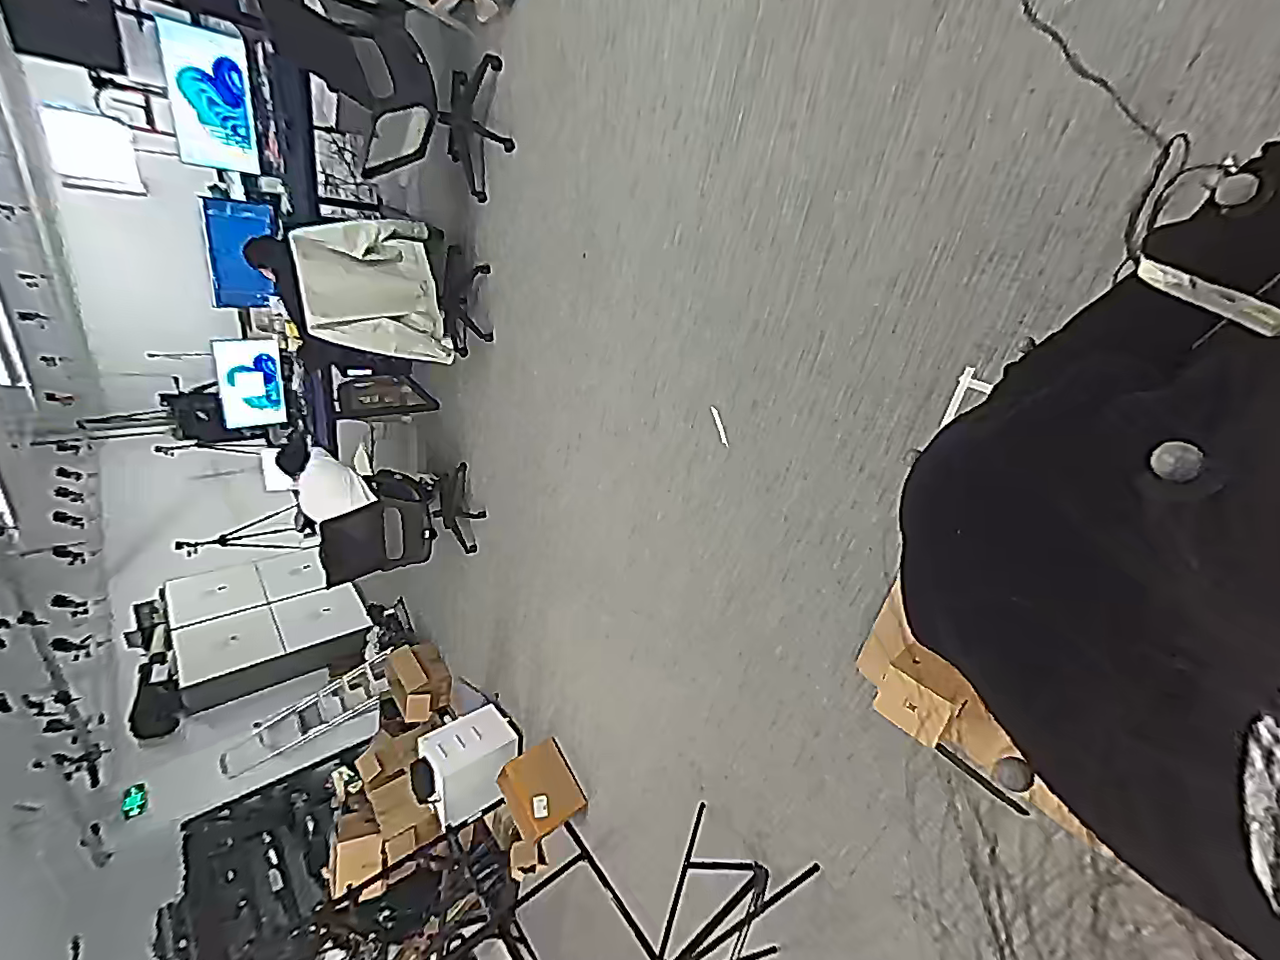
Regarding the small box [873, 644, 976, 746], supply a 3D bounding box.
[{"bbox_3d":[0.781,0.578,1.484,0.179,0.176,0.168,30,123,40],"label":"small box"}]
